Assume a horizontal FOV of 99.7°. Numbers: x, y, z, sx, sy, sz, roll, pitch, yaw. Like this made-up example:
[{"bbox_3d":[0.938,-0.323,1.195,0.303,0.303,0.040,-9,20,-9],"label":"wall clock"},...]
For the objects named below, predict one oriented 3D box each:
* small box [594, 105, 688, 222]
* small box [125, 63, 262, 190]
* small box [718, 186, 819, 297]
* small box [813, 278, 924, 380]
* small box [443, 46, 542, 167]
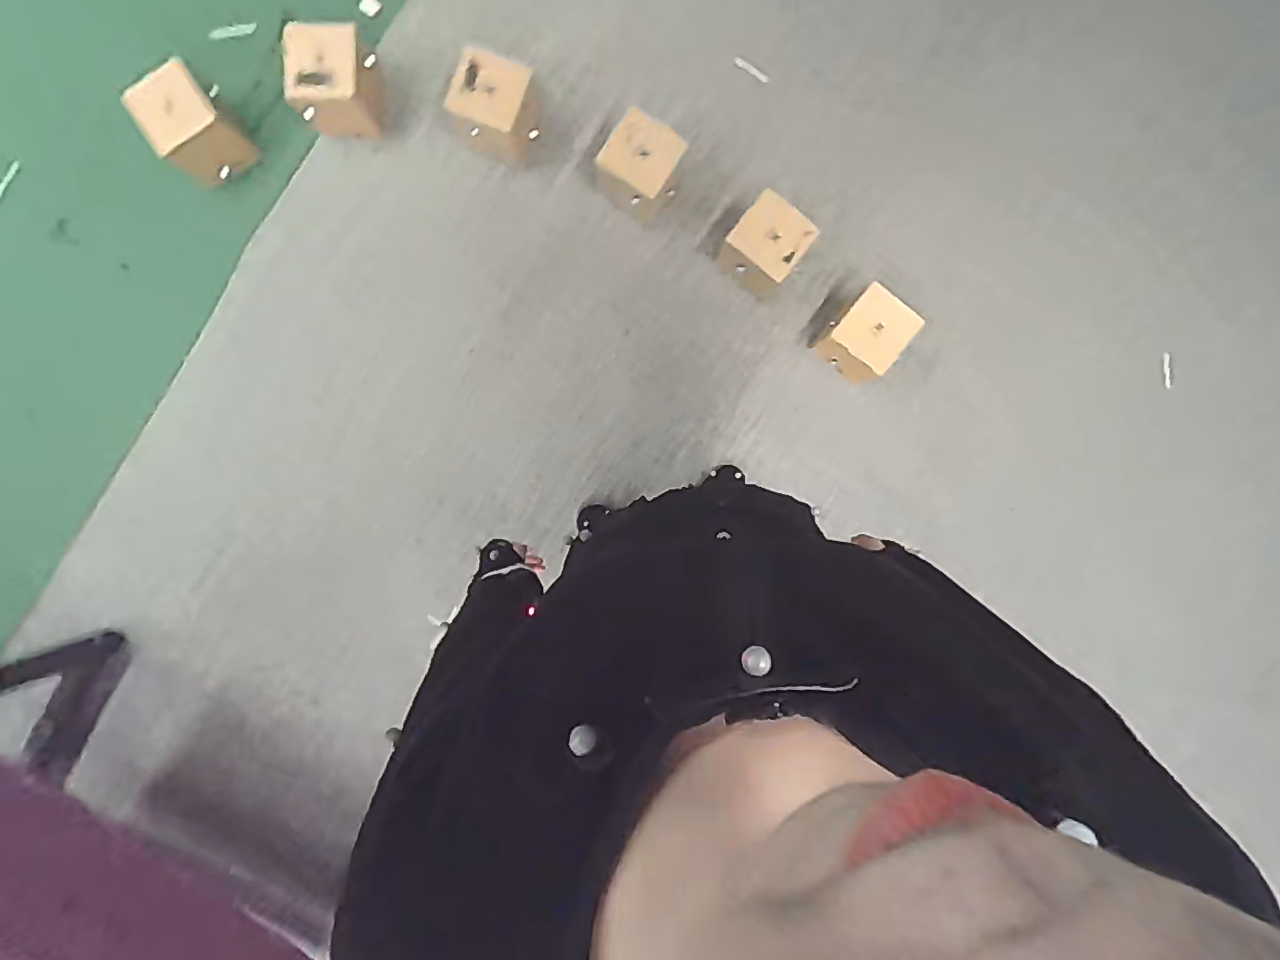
[{"bbox_3d":[0.002,-0.798,1.389,0.179,0.176,0.168,33,91,-1],"label":"small box"},{"bbox_3d":[-1.134,-0.896,1.388,0.168,0.176,0.179,-33,91,1],"label":"small box"},{"bbox_3d":[0.322,-0.604,1.397,0.179,0.176,0.168,38,92,-1],"label":"small box"},{"bbox_3d":[0.583,-0.383,1.407,0.168,0.176,0.179,38,92,-2],"label":"small box"},{"bbox_3d":[-0.369,-0.943,1.384,0.179,0.176,0.168,21,92,-1],"label":"small box"}]
